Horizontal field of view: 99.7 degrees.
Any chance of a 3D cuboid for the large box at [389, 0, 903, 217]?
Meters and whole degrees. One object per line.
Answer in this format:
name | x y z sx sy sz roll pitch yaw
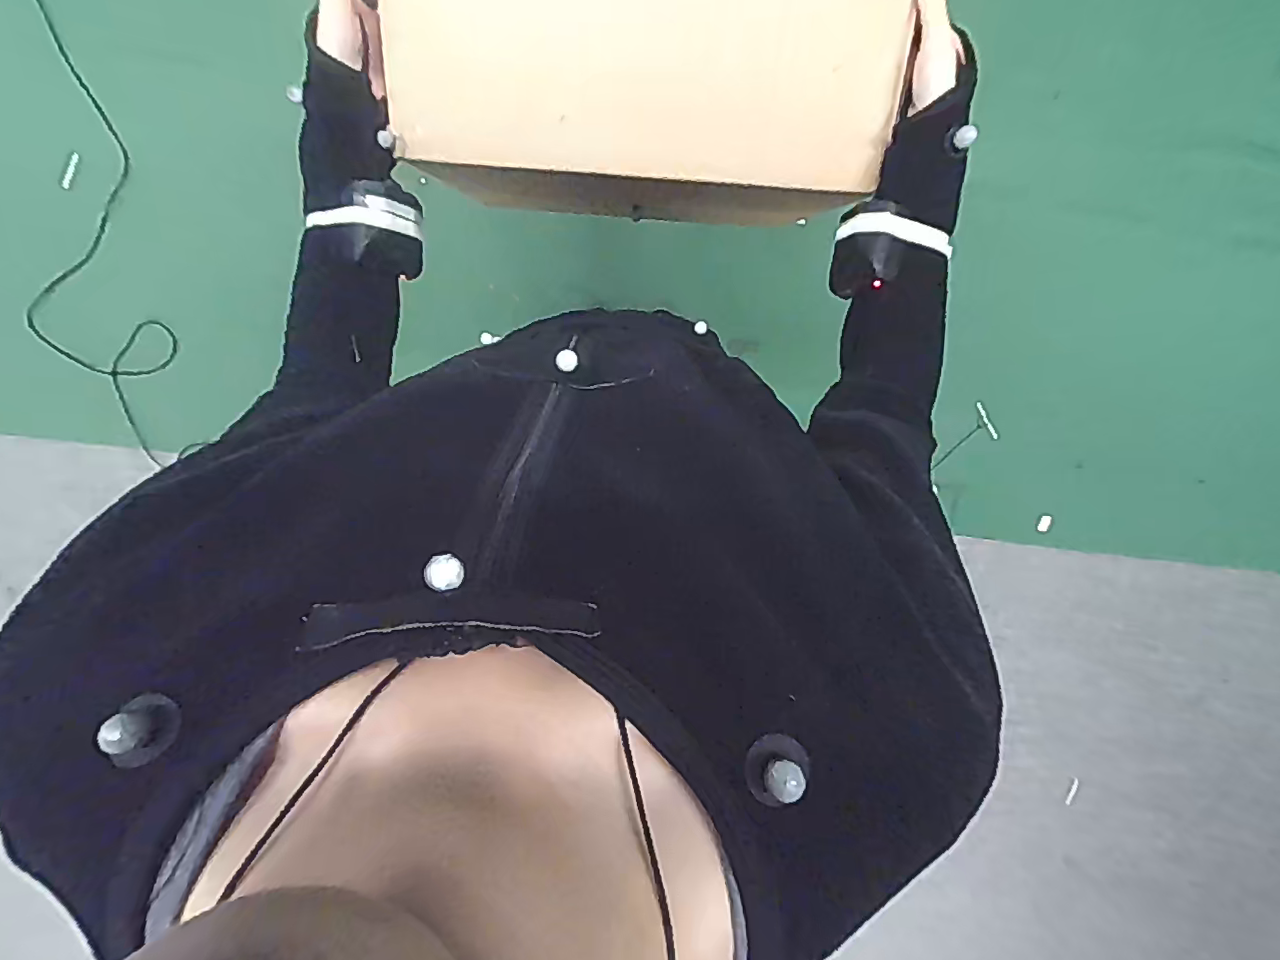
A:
large box | 0.006 -0.453 0.544 0.408 0.320 0.320 2 109 -2
